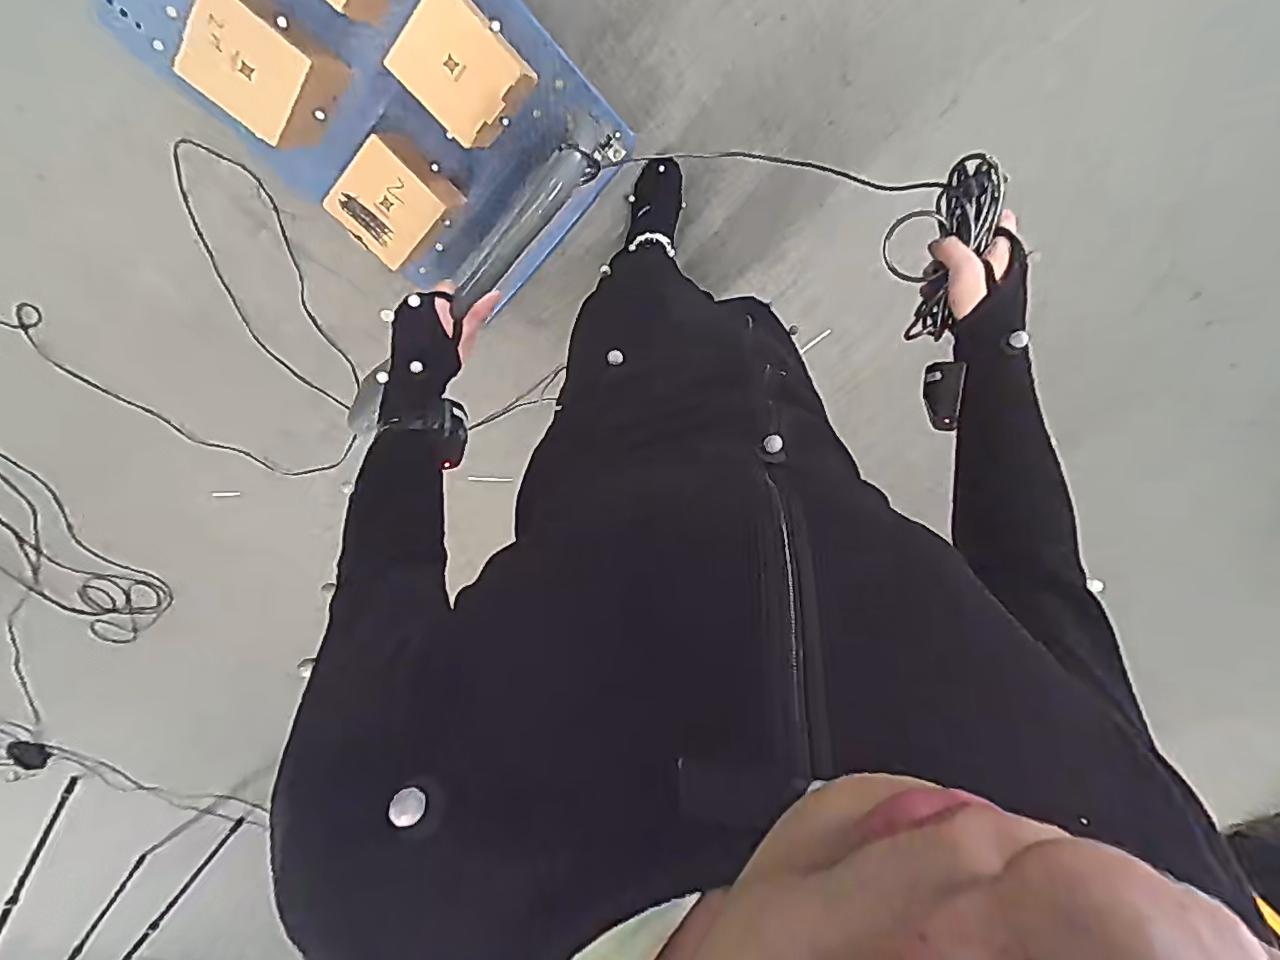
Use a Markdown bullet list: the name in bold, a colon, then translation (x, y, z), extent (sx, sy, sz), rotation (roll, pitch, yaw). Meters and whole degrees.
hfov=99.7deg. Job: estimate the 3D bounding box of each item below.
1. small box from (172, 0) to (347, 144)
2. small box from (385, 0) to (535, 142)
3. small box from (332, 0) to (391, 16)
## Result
- **small box**: translation (-0.667, -0.743, 0.970), extent (0.179, 0.176, 0.168), rotation (36, 115, -22)
- **small box**: translation (-0.314, -0.747, 0.977), extent (0.168, 0.176, 0.179), rotation (-40, 116, 22)
- **small box**: translation (-0.491, -0.901, 0.870), extent (0.179, 0.176, 0.168), rotation (37, 116, -23)
